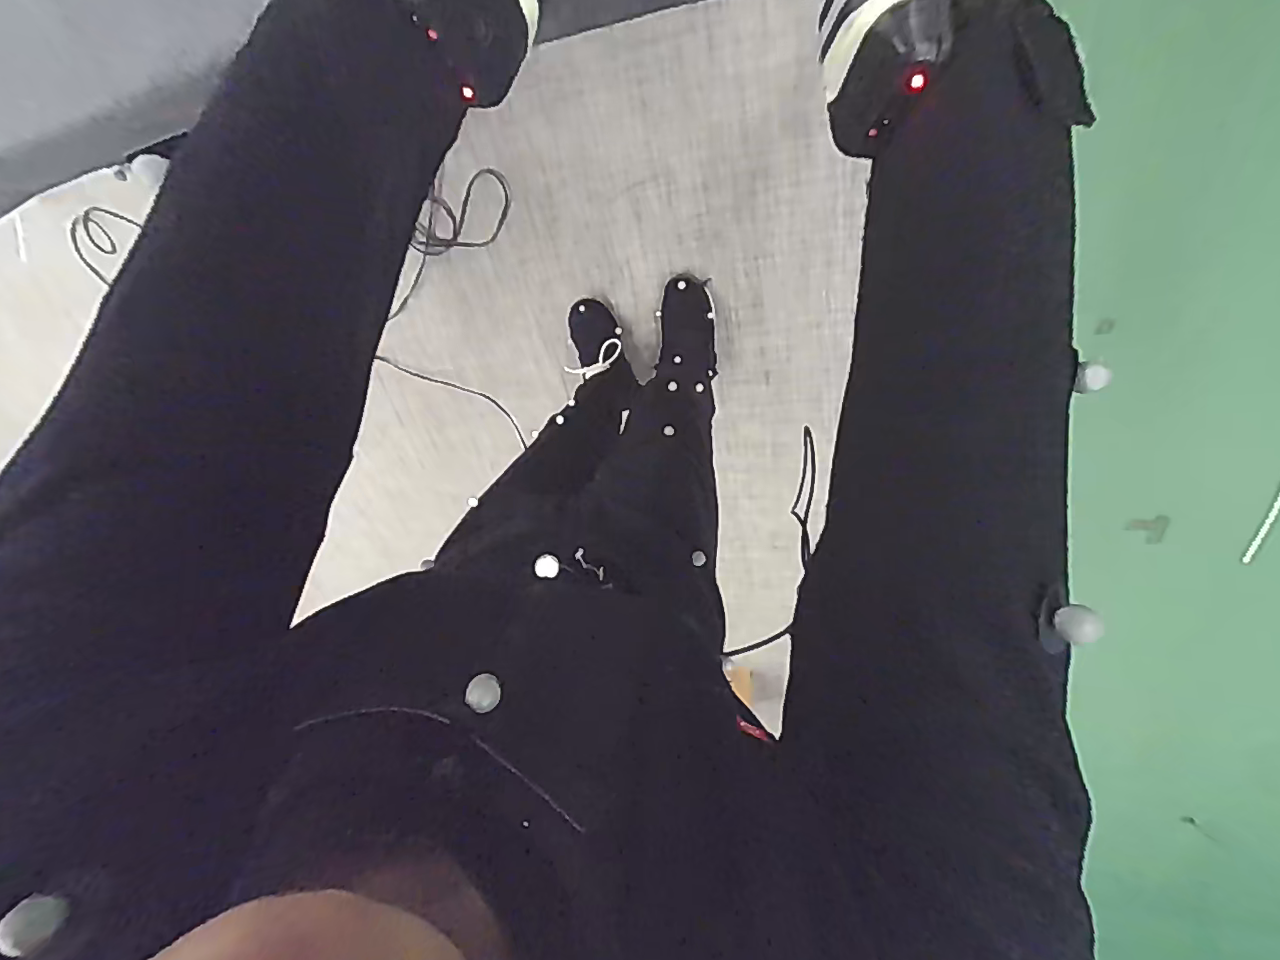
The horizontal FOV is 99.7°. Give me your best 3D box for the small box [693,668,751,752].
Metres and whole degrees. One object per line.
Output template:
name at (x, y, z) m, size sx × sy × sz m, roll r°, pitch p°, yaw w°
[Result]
small box at (0.266, 0.731, 1.725) m, size 0.168 × 0.176 × 0.179 m, roll 0°, pitch 121°, yaw 14°
